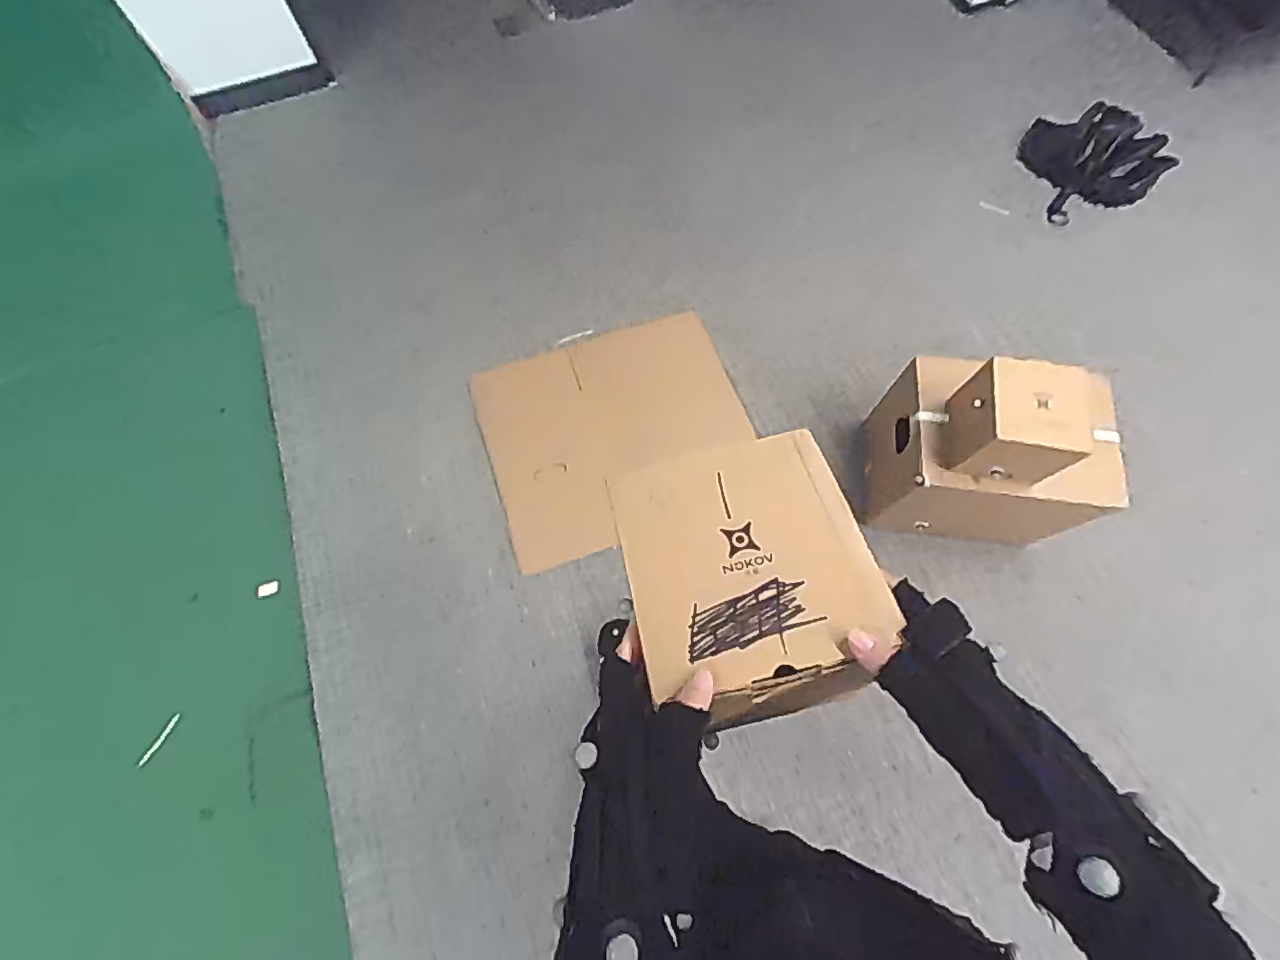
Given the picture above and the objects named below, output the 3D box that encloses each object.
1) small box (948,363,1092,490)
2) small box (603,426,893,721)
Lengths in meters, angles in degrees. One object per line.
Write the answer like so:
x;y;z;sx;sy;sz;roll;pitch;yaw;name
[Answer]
0.716;-0.098;1.041;0.168;0.176;0.179;9;70;6;small box
0.076;0.088;0.450;0.168;0.176;0.179;-14;56;-1;small box
